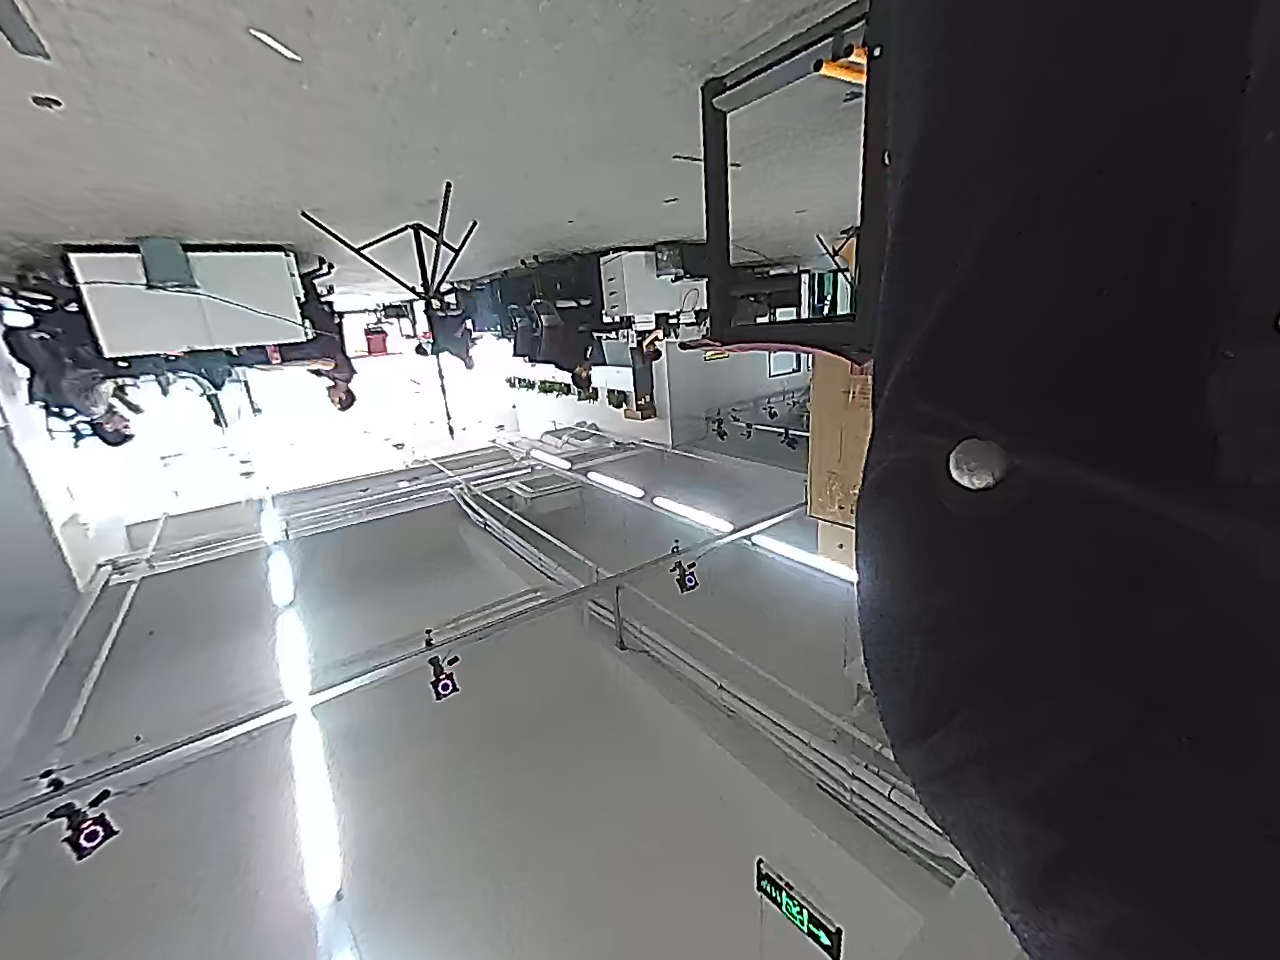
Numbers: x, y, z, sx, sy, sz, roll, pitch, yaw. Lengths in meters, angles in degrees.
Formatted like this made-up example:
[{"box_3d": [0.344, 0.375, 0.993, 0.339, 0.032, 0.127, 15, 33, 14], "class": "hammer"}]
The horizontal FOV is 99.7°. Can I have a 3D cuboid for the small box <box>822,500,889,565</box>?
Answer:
[{"box_3d": [0.782, 0.183, 1.972, 0.179, 0.176, 0.168, -17, -159, -28], "class": "small box"}]
